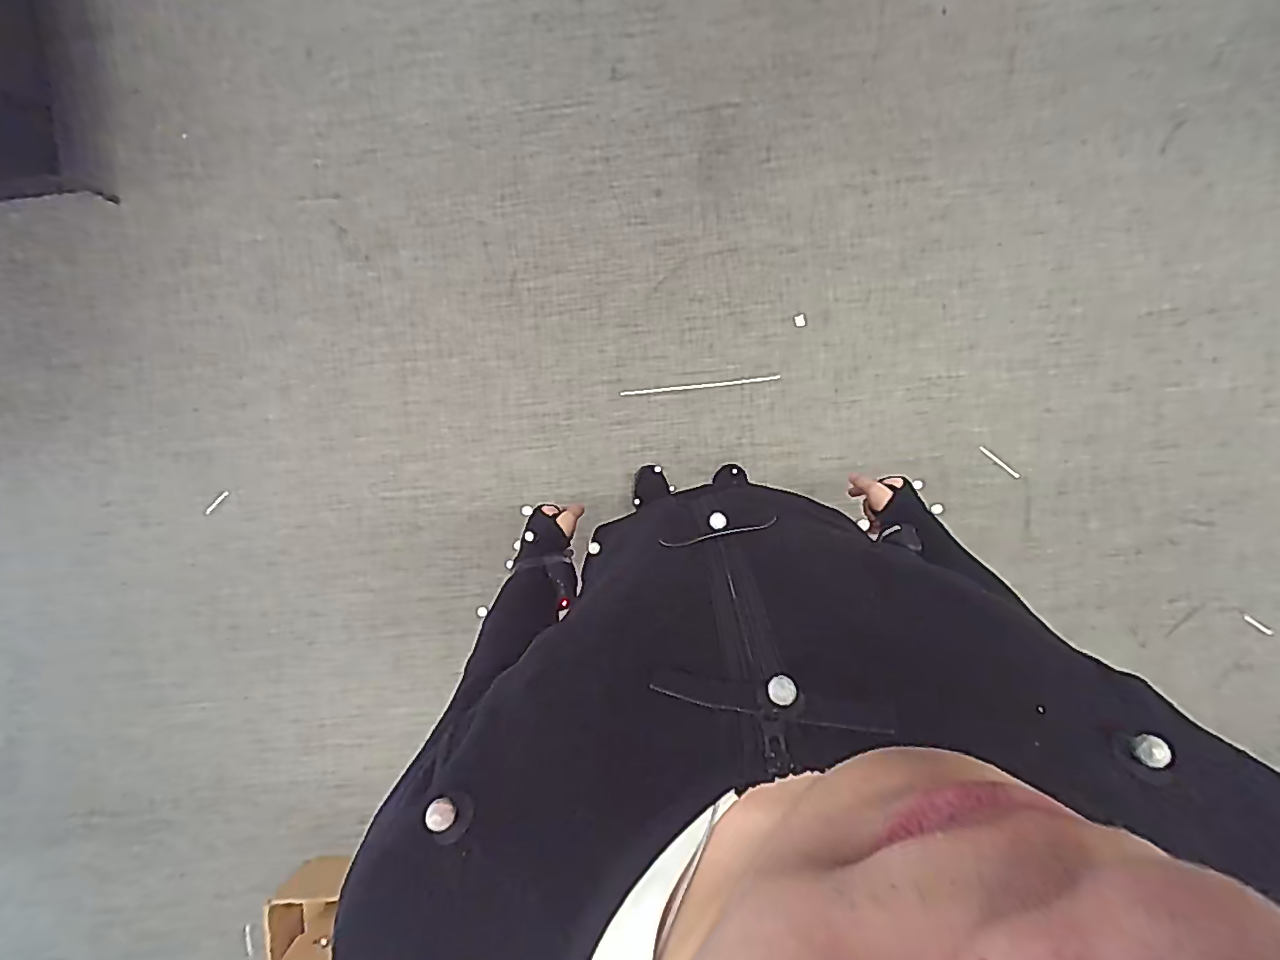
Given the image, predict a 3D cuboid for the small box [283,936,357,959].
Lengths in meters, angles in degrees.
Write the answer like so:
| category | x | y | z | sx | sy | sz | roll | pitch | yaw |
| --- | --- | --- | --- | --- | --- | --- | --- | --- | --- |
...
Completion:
| category | x | y | z | sx | sy | sz | roll | pitch | yaw |
| --- | --- | --- | --- | --- | --- | --- | --- | --- | --- |
| small box | -0.856 | 1.344 | 1.408 | 0.168 | 0.176 | 0.179 | -5 | 91 | 1 |
